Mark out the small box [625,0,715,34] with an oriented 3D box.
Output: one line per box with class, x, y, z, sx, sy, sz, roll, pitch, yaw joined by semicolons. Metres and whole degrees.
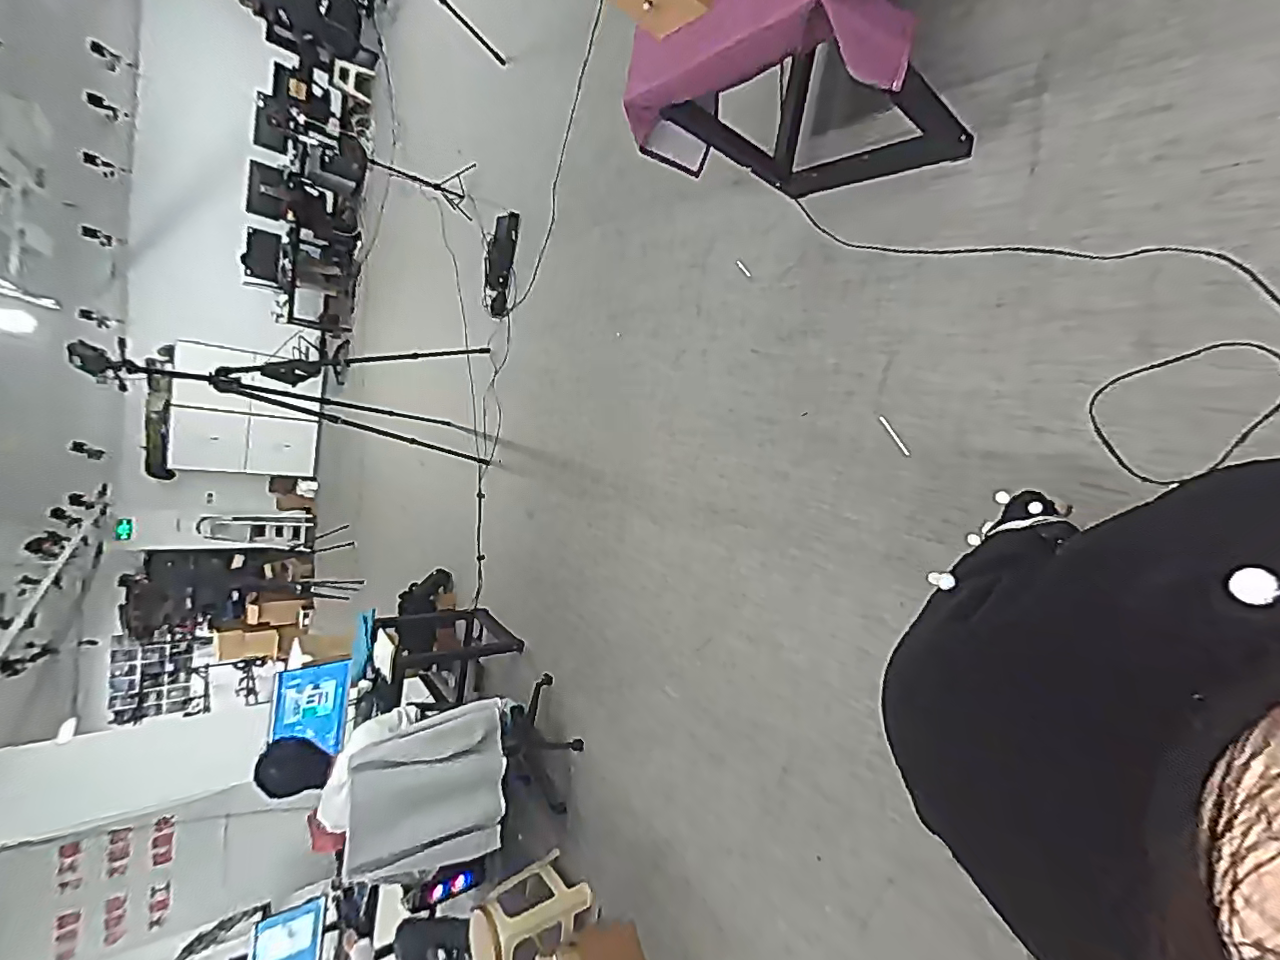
small box;0.070;-1.148;1.200;0.179;0.176;0.168;21;103;50
